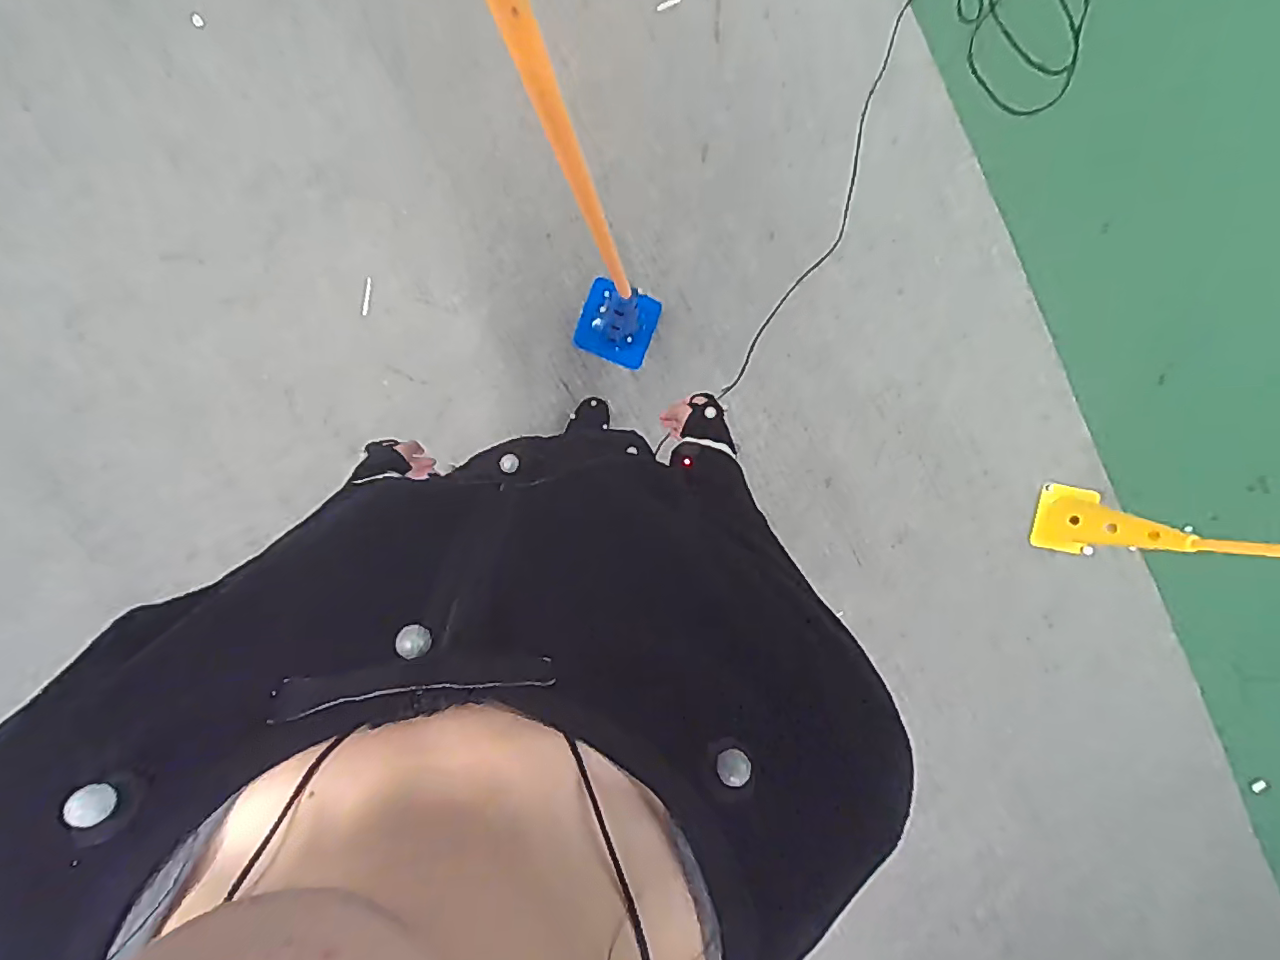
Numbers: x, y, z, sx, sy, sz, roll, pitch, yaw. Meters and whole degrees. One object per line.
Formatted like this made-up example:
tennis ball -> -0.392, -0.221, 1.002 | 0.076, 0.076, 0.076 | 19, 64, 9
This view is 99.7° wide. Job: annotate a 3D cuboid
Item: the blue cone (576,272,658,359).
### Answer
blue cone -> -0.049, -0.412, 1.272 | 0.193, 0.380, 0.192 | 20, 94, -6
